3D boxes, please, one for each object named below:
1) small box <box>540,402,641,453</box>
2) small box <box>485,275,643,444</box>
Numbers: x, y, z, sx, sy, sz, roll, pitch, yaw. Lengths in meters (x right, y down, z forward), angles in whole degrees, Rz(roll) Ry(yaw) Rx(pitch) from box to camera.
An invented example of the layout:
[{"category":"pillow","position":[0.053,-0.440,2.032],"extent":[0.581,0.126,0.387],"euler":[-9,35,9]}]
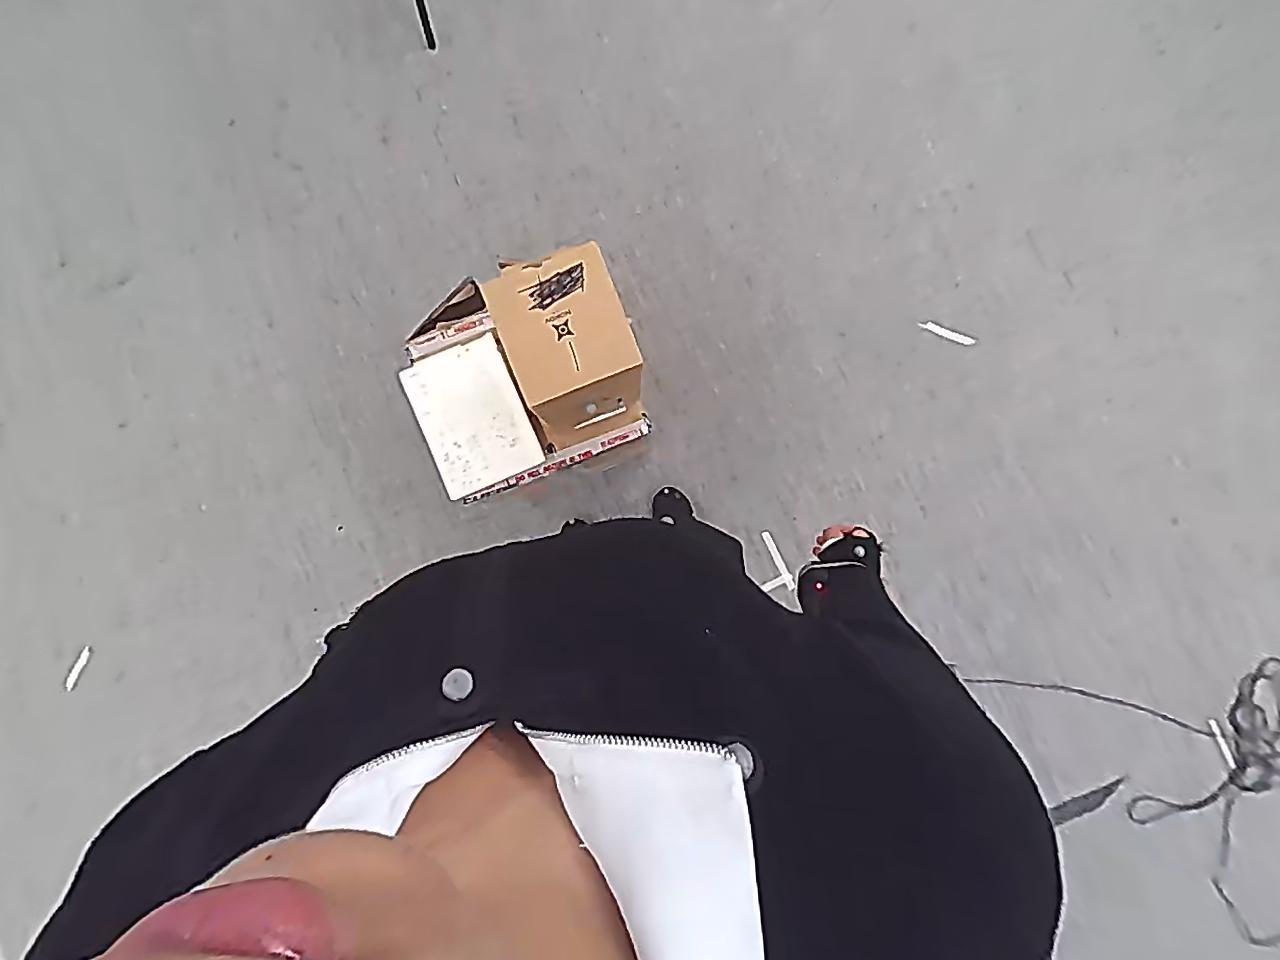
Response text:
[{"category":"small box","position":[-0.112,-0.159,0.962],"extent":[0.179,0.176,0.168],"euler":[-25,89,-1]},{"category":"small box","position":[-0.105,-0.165,0.798],"extent":[0.168,0.176,0.179],"euler":[-22,90,-2]}]
